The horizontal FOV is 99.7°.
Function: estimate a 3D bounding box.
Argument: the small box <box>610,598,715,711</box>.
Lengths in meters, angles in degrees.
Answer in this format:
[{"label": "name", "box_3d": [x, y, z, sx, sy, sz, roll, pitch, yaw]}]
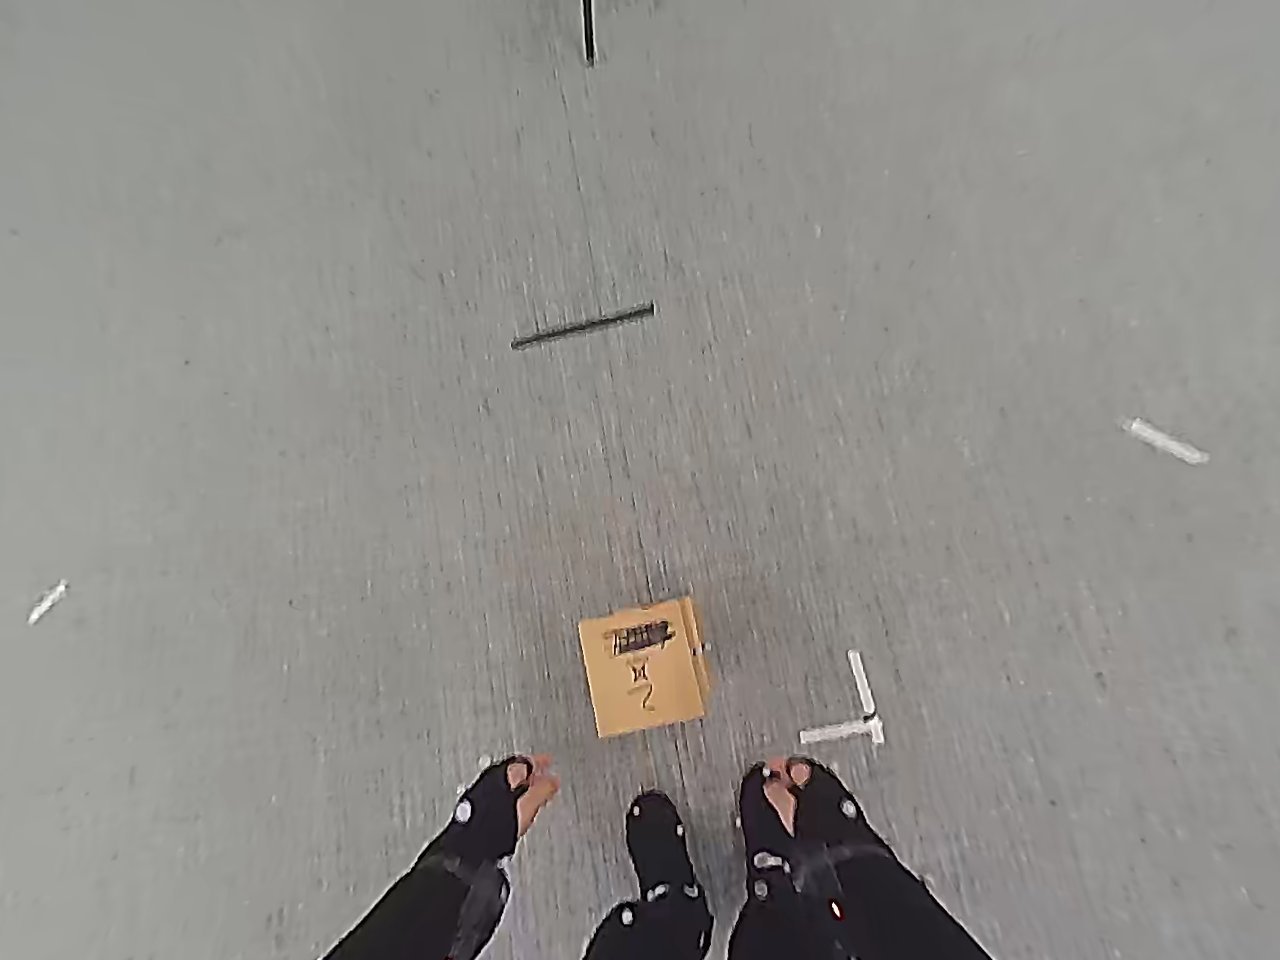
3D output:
[{"label": "small box", "box_3d": [0.047, 0.337, 1.062, 0.168, 0.176, 0.179, -13, 75, 5]}]
